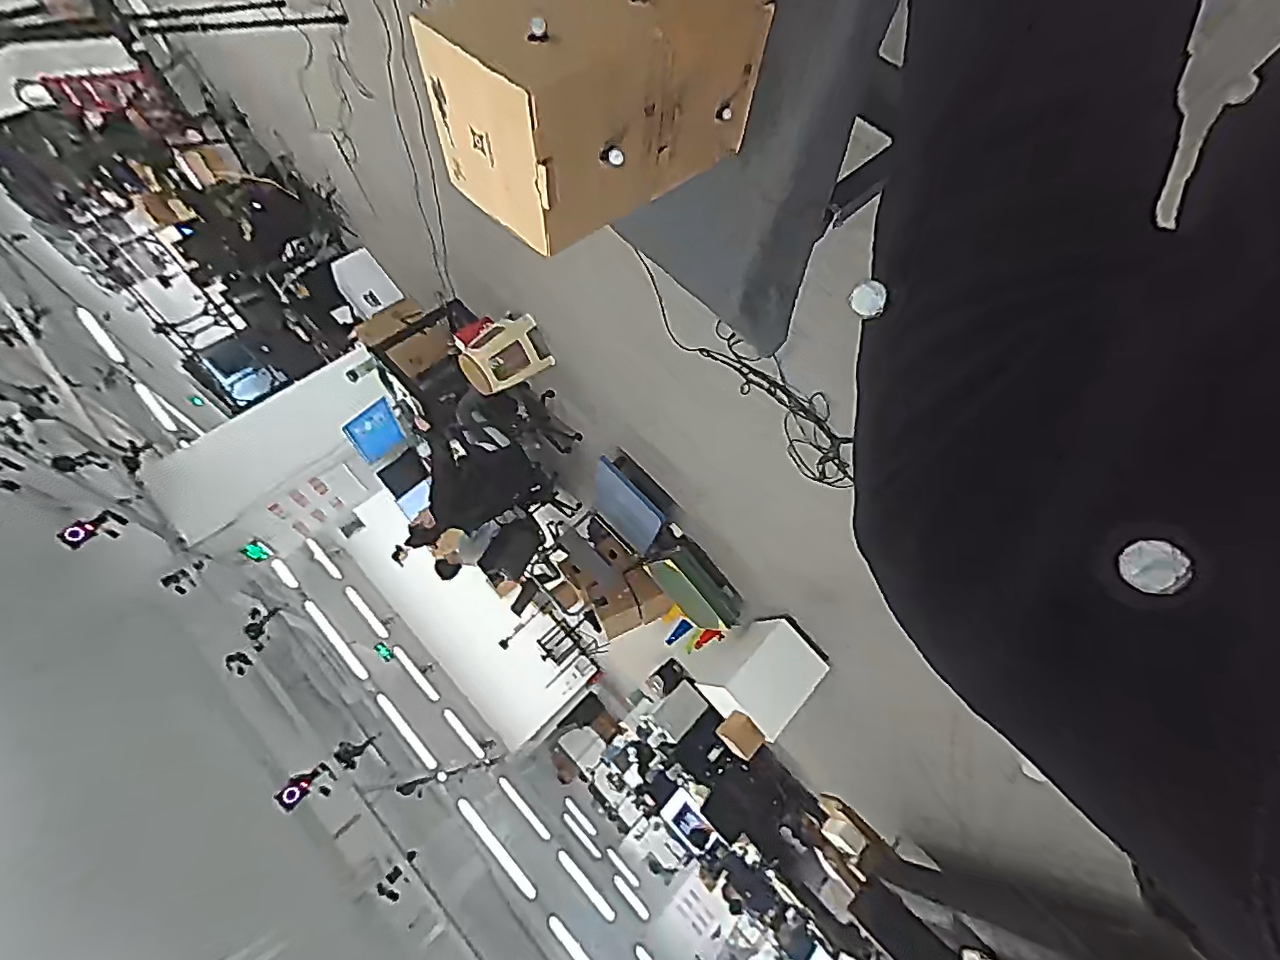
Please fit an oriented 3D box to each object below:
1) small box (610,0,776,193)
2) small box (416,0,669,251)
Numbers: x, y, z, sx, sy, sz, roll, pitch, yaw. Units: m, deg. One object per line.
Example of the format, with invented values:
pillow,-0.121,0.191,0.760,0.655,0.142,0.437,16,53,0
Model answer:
small box,0.023,-0.482,0.631,0.179,0.176,0.168,43,157,16
small box,-0.090,-0.385,0.564,0.179,0.176,0.168,42,156,17
